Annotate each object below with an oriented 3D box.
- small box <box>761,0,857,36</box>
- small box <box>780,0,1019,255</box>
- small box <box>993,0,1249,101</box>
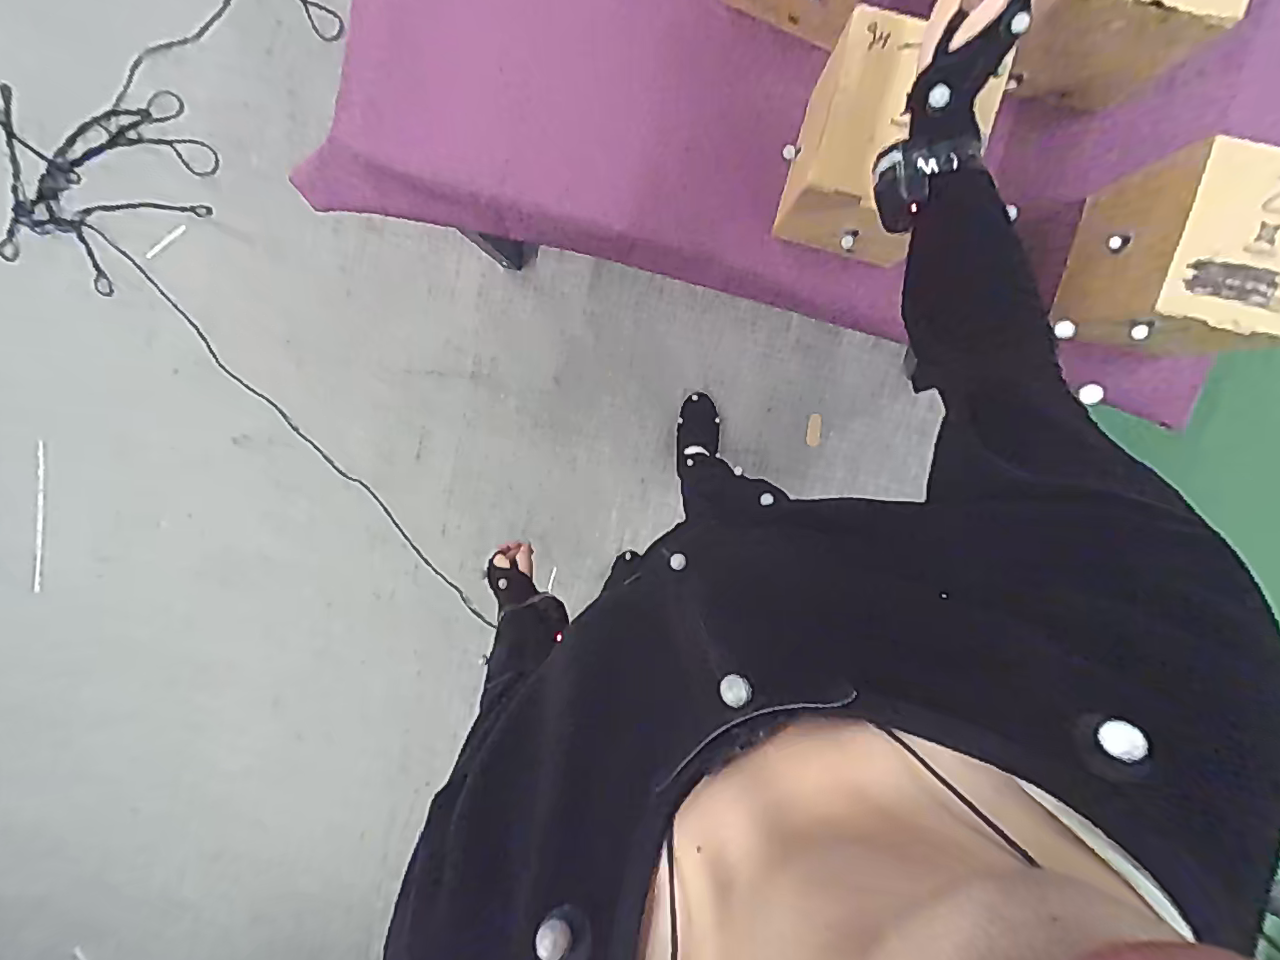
[{"bbox_3d":[0.201,-0.639,0.577,0.168,0.176,0.179,24,99,-3],"label":"small box"},{"bbox_3d":[0.270,-0.377,0.613,0.168,0.176,0.179,15,98,-1],"label":"small box"},{"bbox_3d":[0.514,-0.551,0.577,0.168,0.176,0.179,13,98,0],"label":"small box"}]
